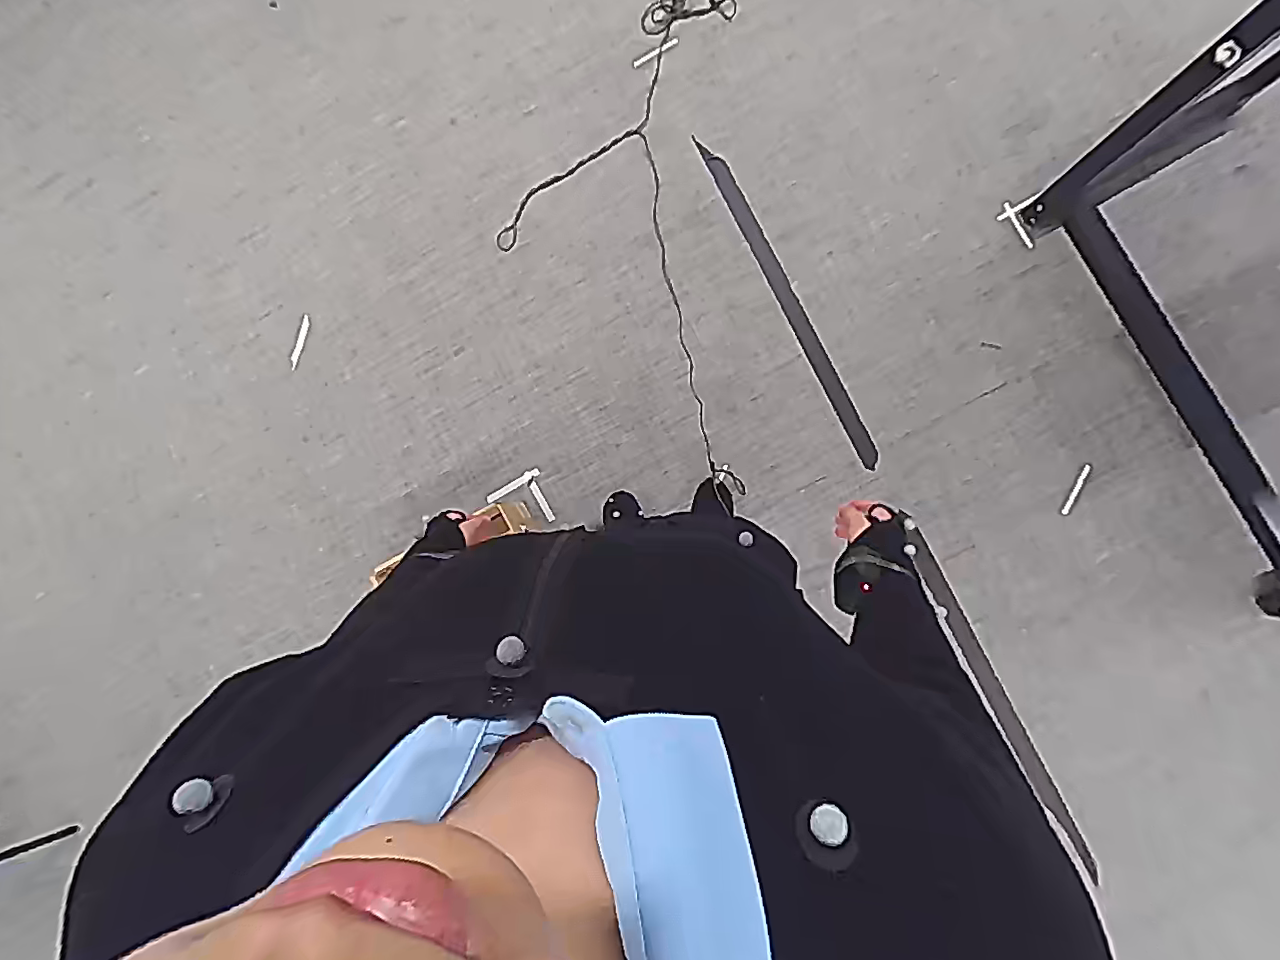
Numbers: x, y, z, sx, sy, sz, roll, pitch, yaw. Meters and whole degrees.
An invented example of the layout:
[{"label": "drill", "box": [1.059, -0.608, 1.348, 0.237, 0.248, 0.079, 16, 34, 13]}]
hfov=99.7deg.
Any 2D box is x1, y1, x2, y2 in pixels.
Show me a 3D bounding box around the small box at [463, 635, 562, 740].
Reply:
[{"label": "small box", "box": [-0.318, 0.527, 1.402, 0.179, 0.176, 0.168, -30, 85, 4]}]
